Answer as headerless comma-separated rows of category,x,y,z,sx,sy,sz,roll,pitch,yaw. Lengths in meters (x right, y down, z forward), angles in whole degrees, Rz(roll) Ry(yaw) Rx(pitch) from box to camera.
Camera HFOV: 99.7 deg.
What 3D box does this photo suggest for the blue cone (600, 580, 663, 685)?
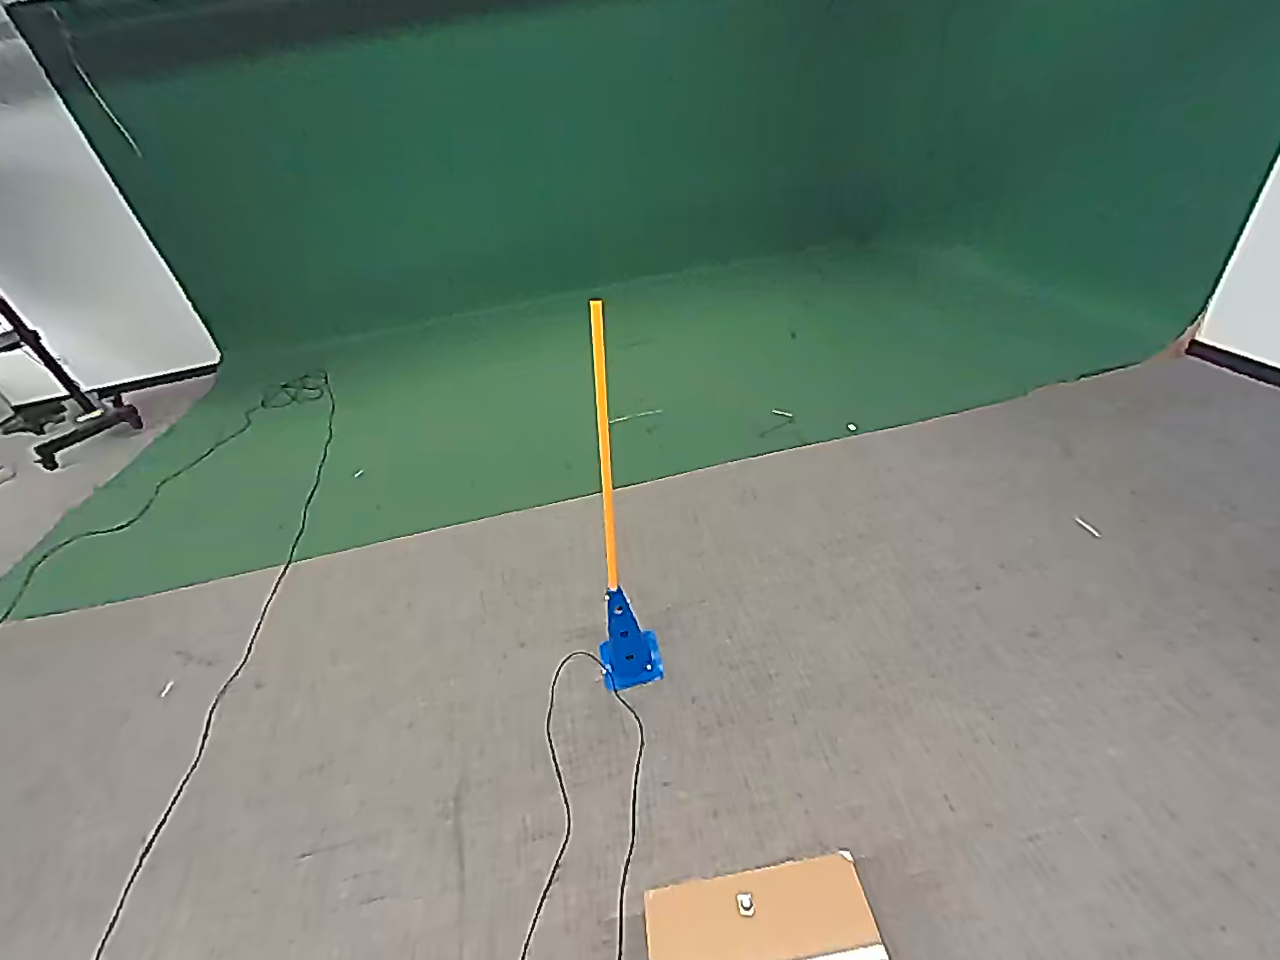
blue cone,-0.052,0.450,1.708,0.193,0.380,0.192,-13,36,-7
